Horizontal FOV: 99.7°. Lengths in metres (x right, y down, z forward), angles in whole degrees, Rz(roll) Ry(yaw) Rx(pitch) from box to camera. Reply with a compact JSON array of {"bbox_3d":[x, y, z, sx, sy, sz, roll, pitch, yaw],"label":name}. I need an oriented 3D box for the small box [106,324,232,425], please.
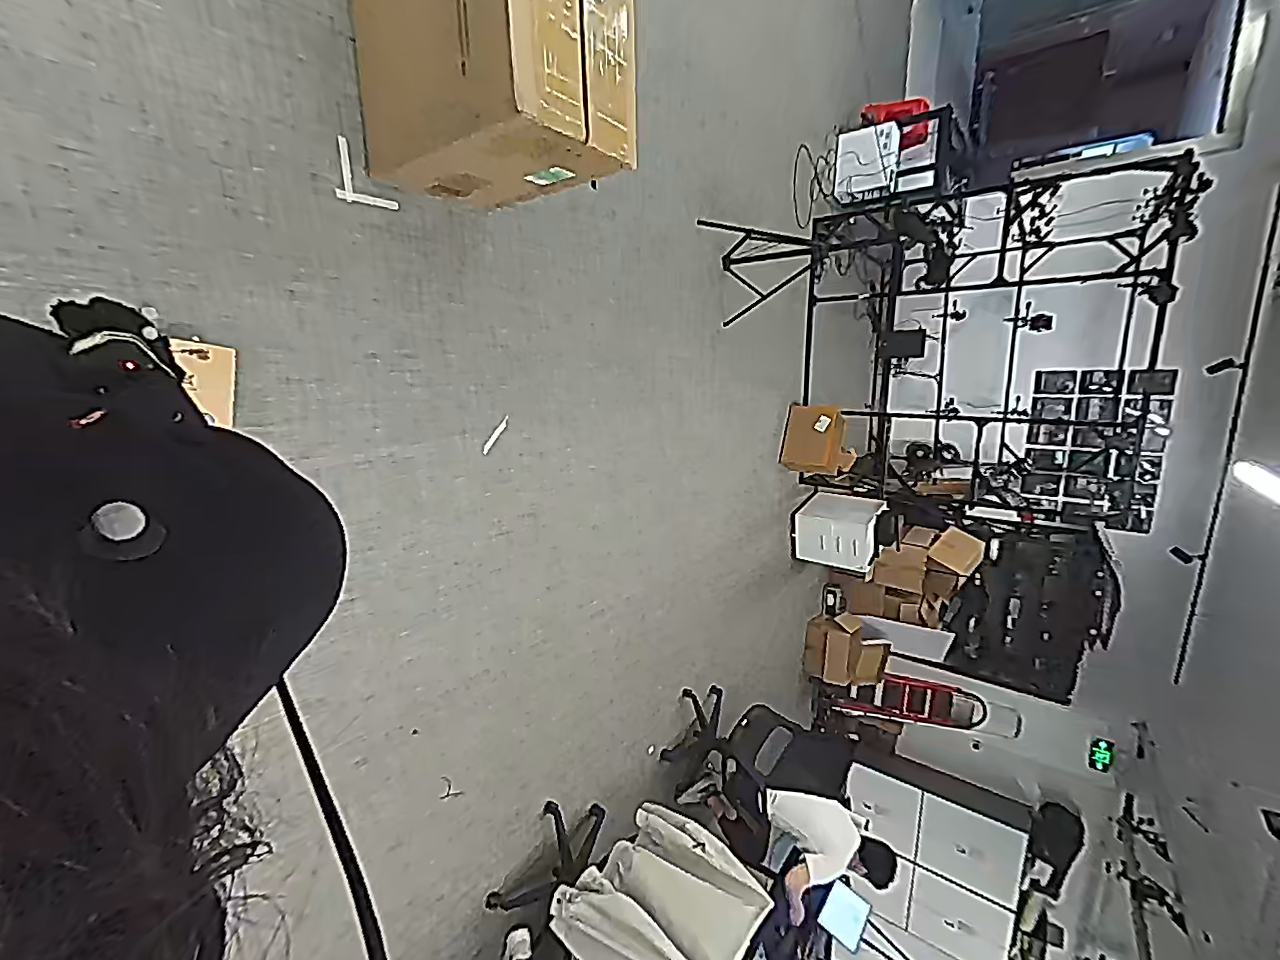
[{"bbox_3d":[-0.987,-0.217,1.133,0.168,0.176,0.179,2,96,-54],"label":"small box"}]
